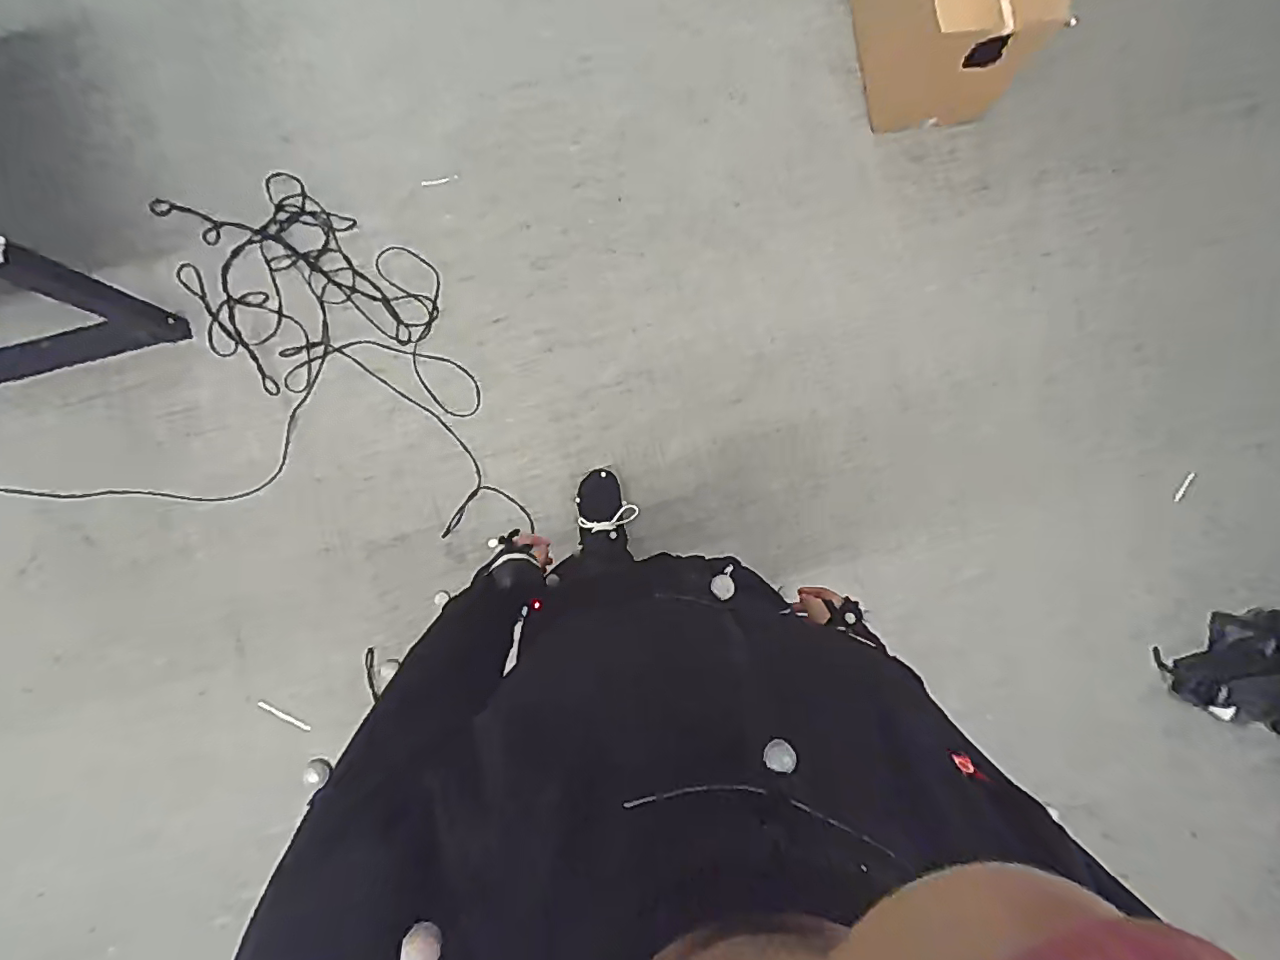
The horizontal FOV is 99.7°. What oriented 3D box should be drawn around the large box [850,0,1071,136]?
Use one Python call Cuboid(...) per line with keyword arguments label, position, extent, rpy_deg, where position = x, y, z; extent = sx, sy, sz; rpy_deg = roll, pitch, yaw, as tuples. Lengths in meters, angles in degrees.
Cuboid(label="large box", position=(0.766, -1.162, 1.344), extent=(0.320, 0.320, 0.408), rpy_deg=(-9, 88, -3))
